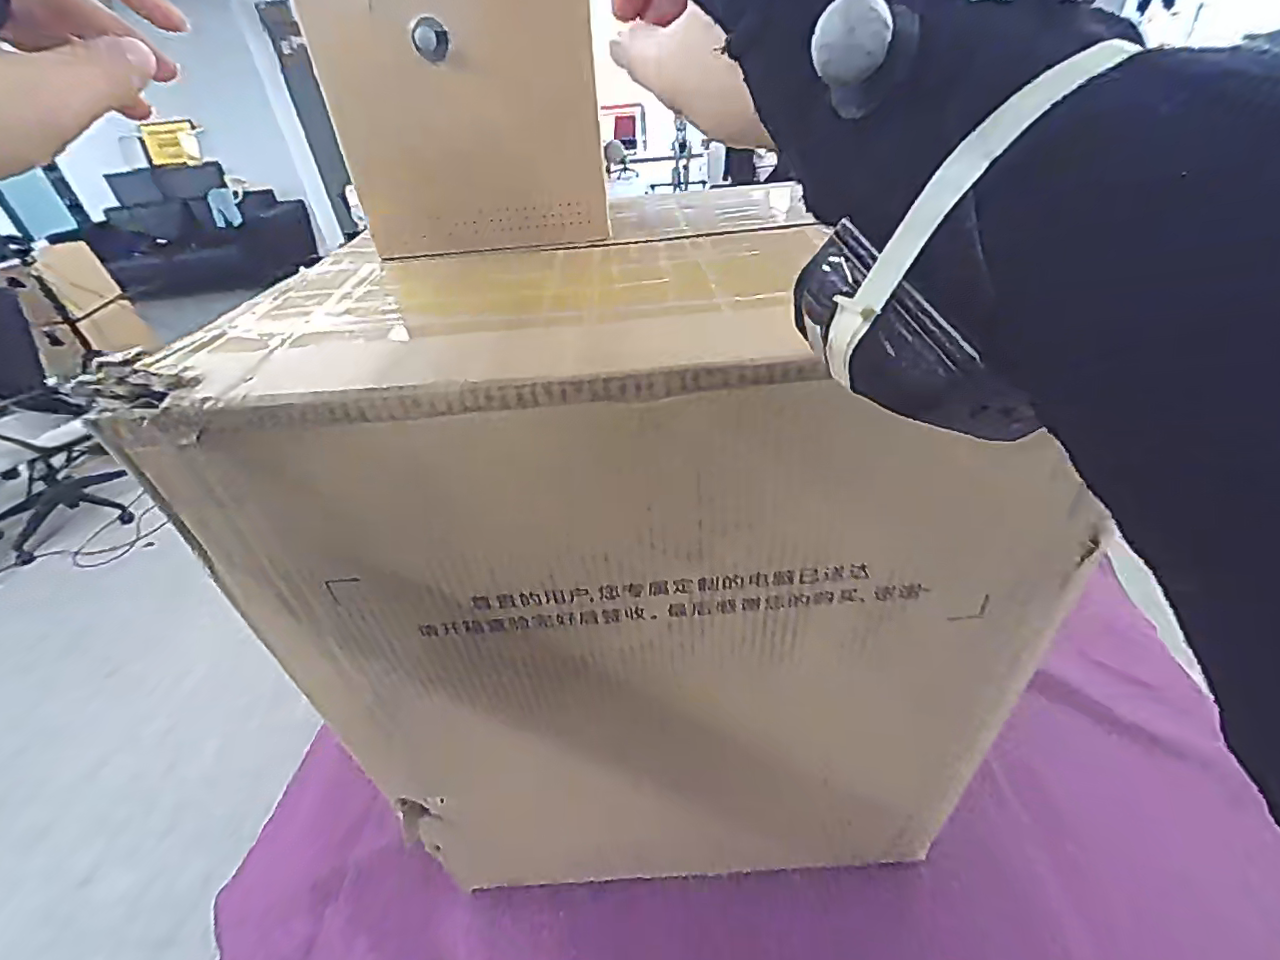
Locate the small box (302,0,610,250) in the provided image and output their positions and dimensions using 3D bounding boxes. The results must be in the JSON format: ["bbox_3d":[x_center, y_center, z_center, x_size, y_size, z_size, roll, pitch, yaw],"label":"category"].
[{"bbox_3d":[-0.119,-0.286,0.418,0.179,0.176,0.168,-5,37,-1],"label":"small box"}]
